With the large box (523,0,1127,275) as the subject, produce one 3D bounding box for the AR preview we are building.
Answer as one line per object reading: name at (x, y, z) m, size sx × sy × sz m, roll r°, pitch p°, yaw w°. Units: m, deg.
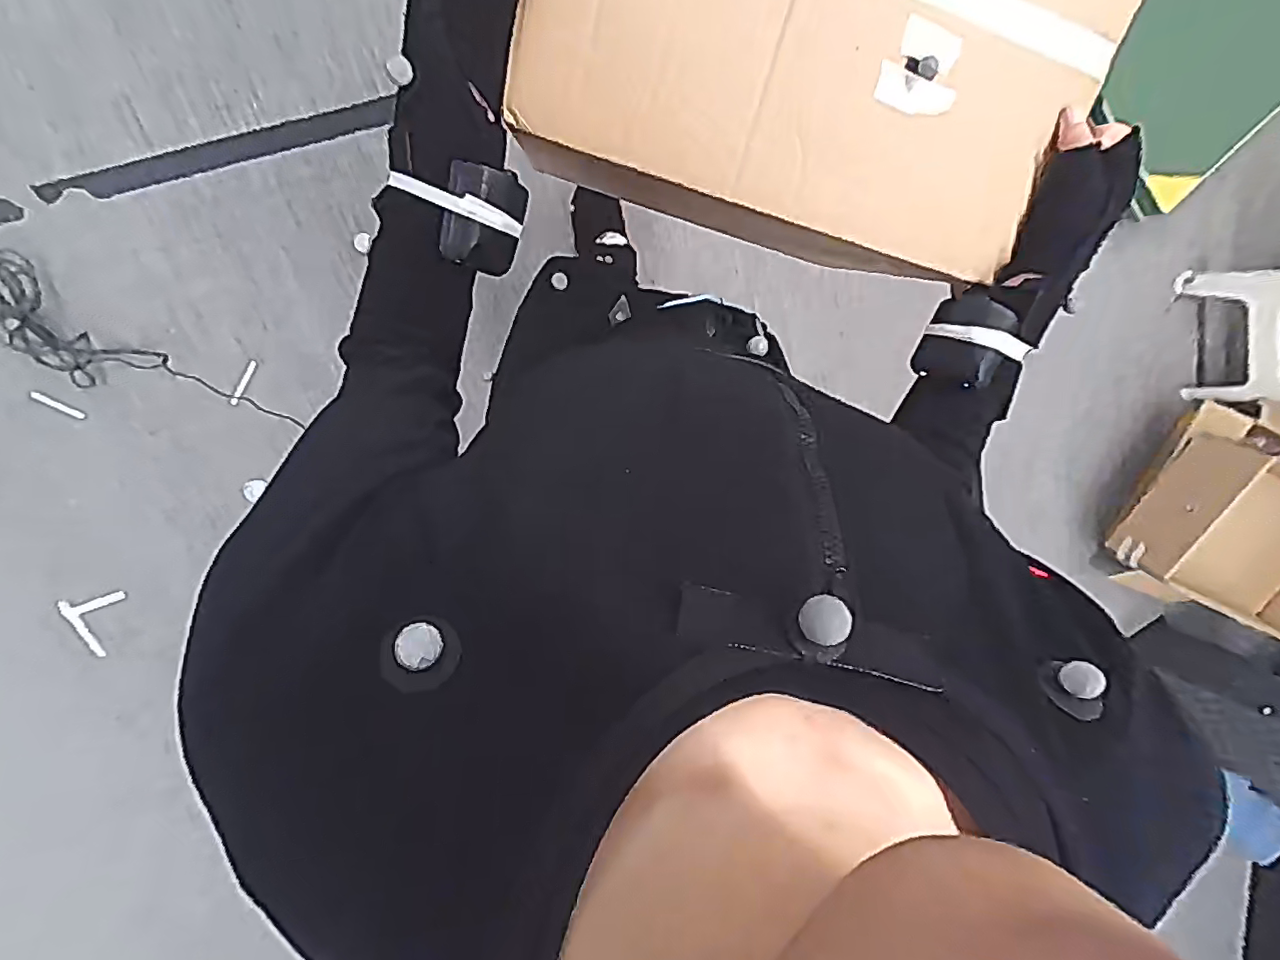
large box at (0.125, -0.406, 0.493) m, size 0.408 × 0.320 × 0.320 m, roll 12°, pitch 113°, yaw -13°
